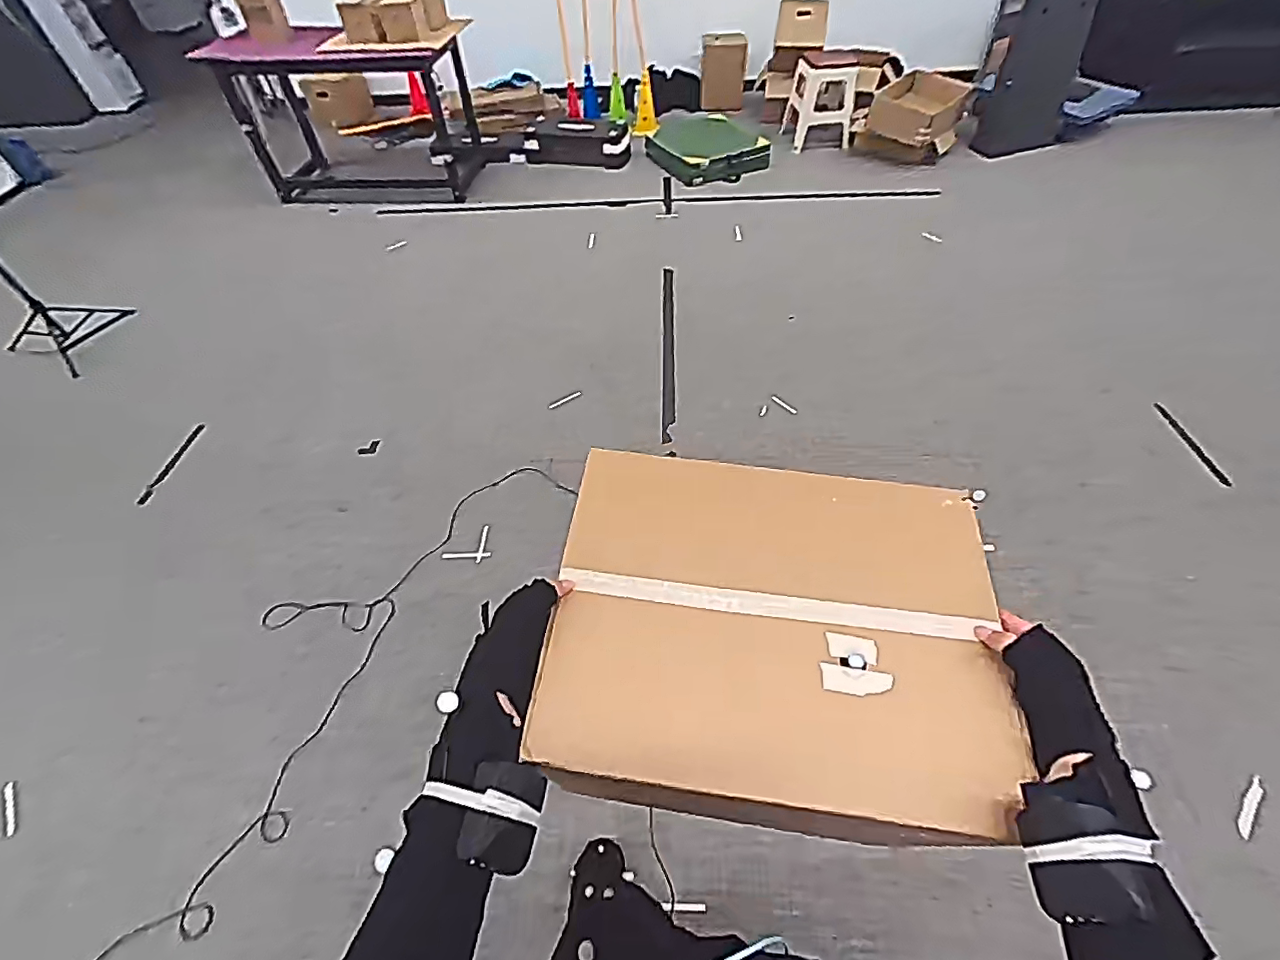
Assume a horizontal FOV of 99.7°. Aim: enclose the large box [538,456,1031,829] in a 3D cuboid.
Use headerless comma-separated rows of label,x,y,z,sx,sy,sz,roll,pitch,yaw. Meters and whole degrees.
large box,0.125,0.200,0.637,0.408,0.320,0.320,7,57,4
